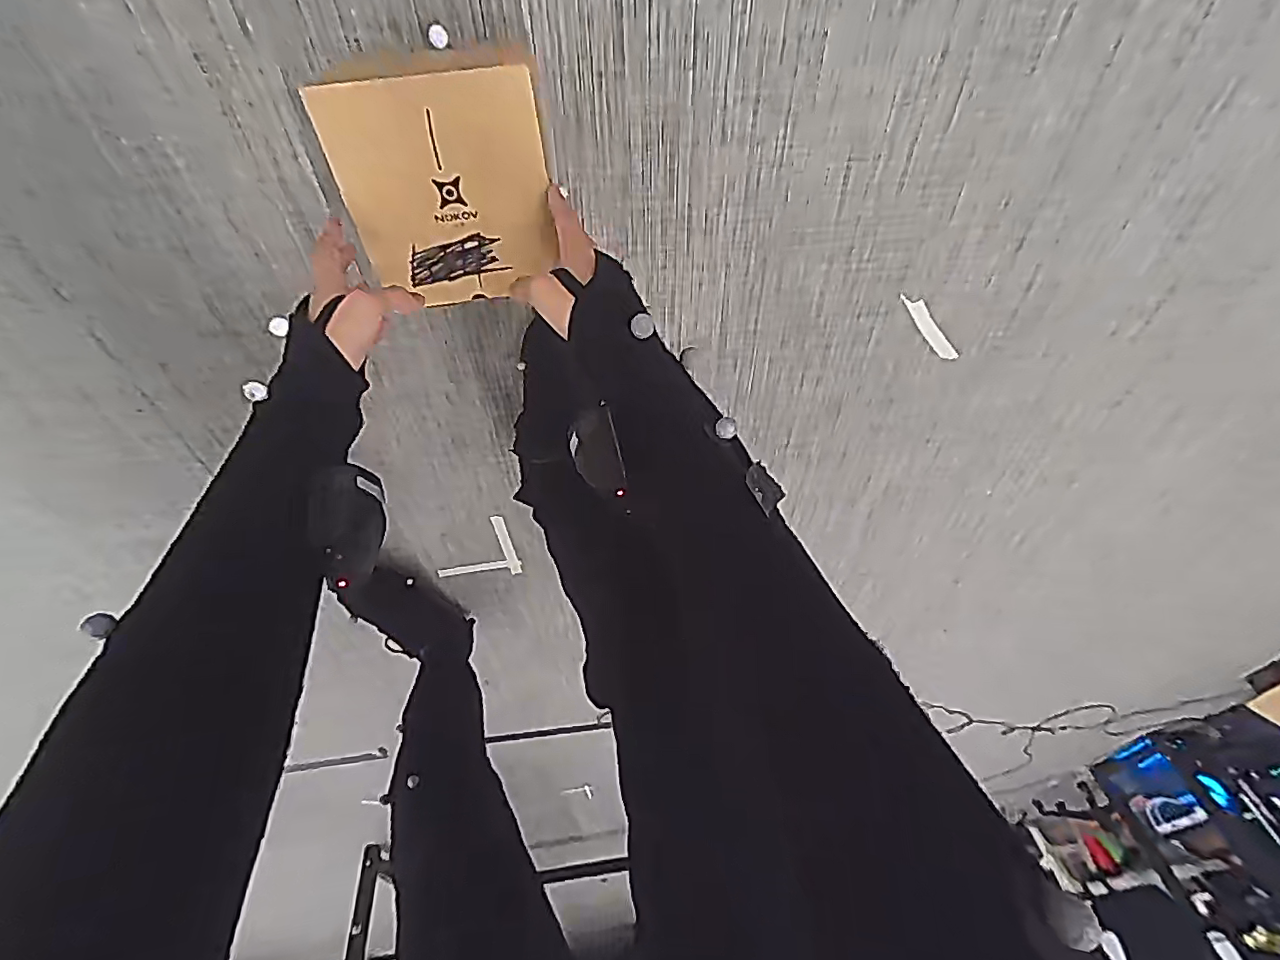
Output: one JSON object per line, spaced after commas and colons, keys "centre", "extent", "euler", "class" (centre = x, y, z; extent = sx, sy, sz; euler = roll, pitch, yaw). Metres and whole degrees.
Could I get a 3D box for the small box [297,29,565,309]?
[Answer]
{"centre": [-0.161, -0.281, 0.489], "extent": [0.168, 0.176, 0.179], "euler": [-8, 134, -3], "class": "small box"}
